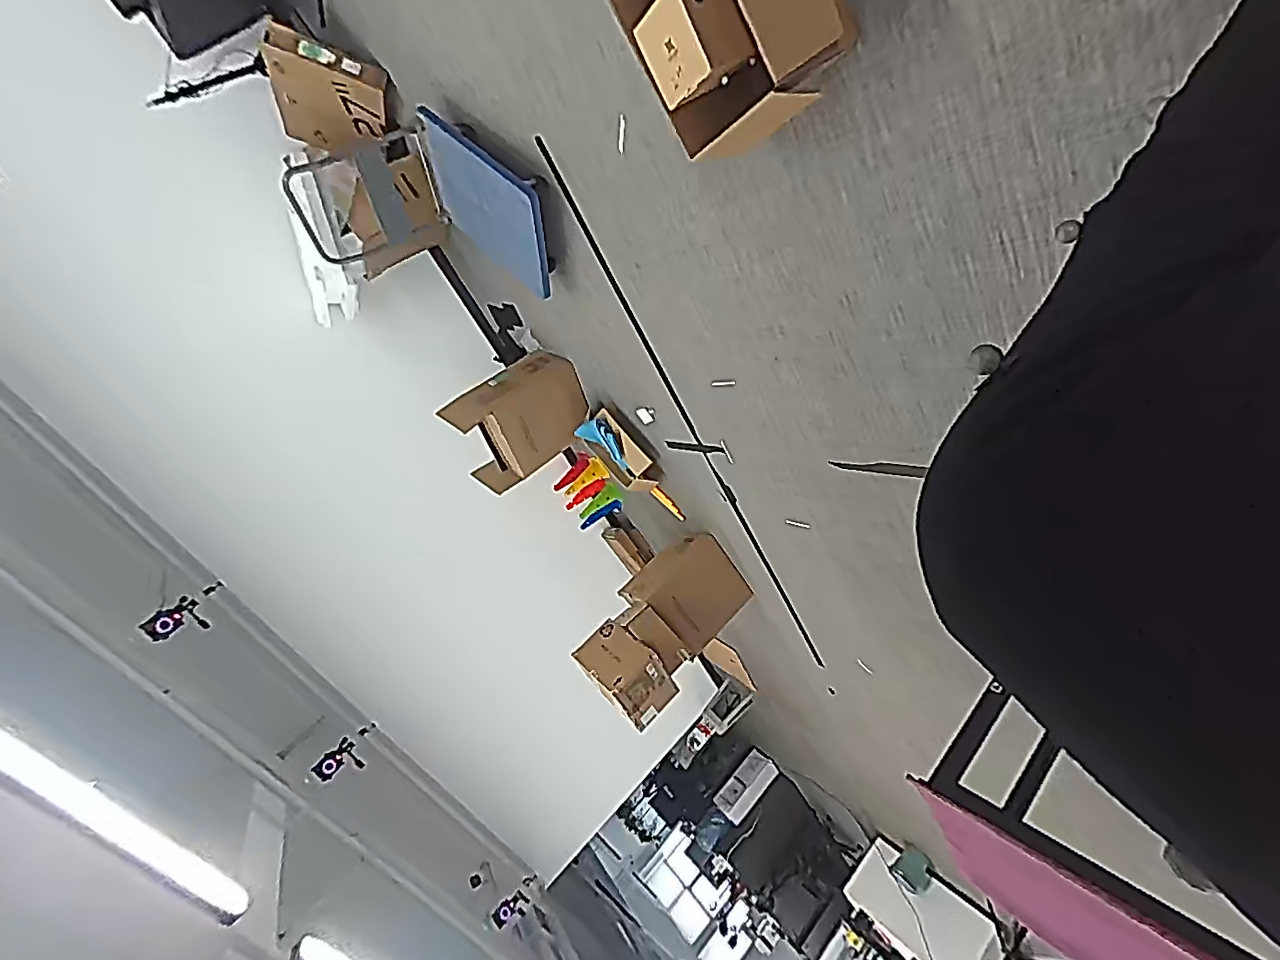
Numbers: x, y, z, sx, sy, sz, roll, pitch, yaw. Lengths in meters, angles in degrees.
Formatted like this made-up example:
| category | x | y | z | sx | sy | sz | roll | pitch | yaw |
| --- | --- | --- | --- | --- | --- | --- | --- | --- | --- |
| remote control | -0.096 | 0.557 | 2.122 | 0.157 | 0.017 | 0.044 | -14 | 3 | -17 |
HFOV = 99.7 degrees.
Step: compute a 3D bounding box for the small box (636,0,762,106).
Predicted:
| category | x | y | z | sx | sy | sz | roll | pitch | yaw |
| --- | --- | --- | --- | --- | --- | --- | --- | --- | --- |
| small box | 0.130 | -0.973 | 1.178 | 0.179 | 0.176 | 0.168 | 57 | 159 | -21 |
